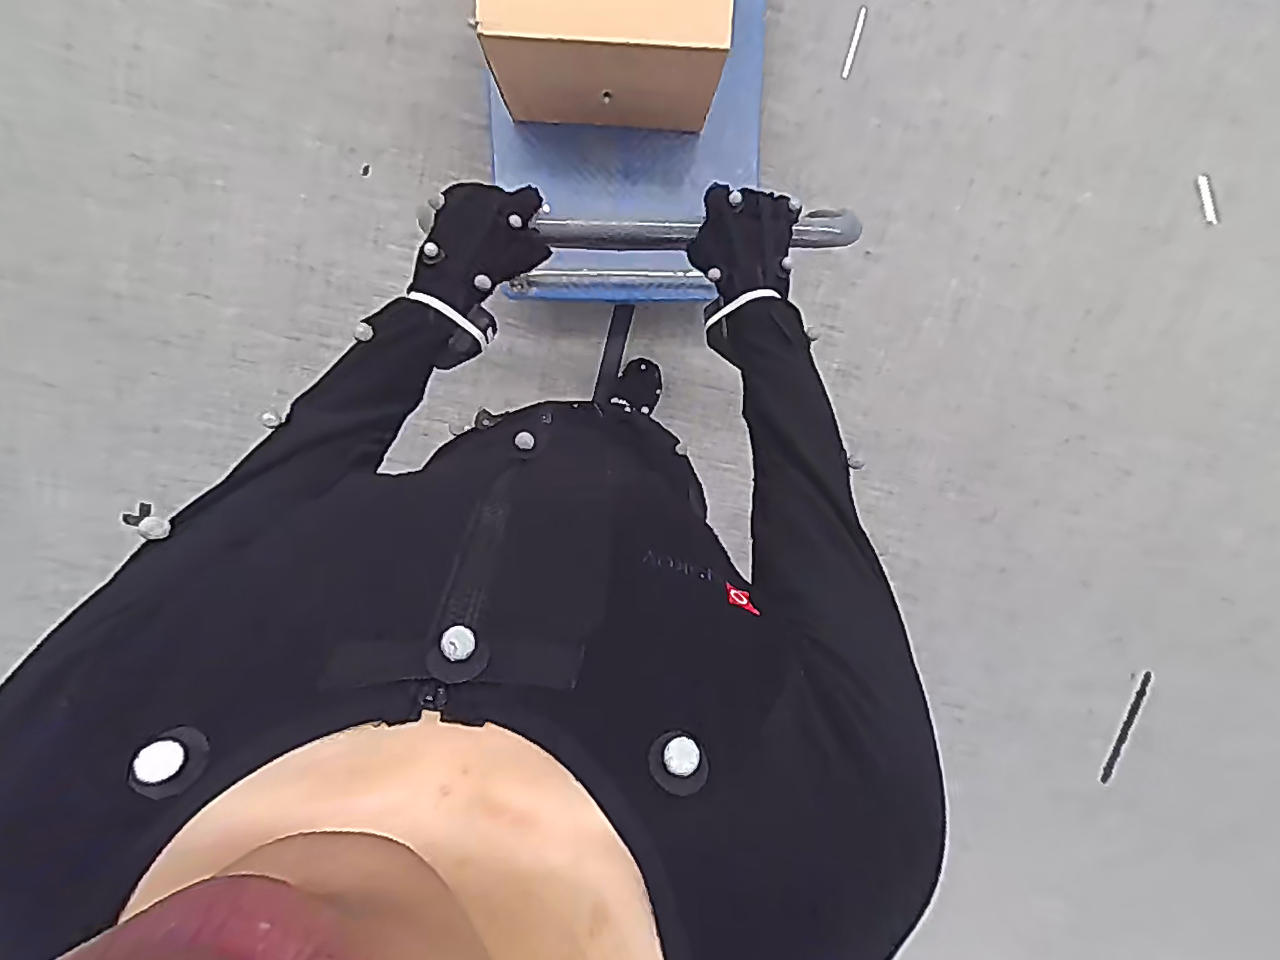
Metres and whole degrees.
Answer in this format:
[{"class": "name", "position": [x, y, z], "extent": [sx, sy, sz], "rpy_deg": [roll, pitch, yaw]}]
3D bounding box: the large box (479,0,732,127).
[{"class": "large box", "position": [-0.054, -0.872, 0.975], "extent": [0.408, 0.320, 0.320], "rpy_deg": [2, 101, -2]}]
